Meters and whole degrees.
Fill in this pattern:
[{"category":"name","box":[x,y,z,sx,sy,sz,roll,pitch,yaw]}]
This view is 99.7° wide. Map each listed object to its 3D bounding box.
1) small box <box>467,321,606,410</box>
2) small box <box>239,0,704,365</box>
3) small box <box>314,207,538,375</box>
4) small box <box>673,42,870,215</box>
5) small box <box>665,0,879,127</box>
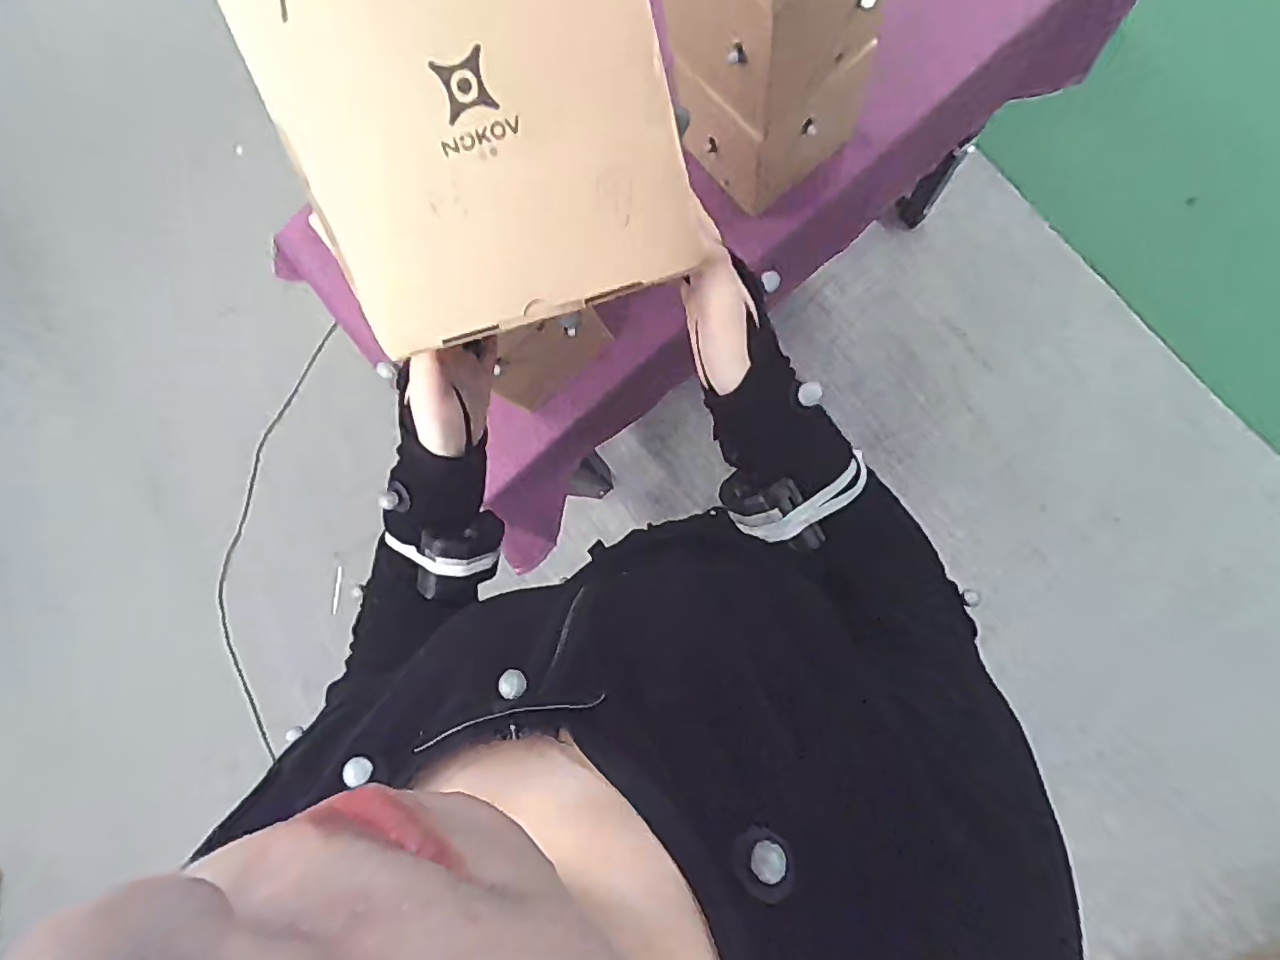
[{"category":"small box","box":[-0.171,-0.222,0.758,0.179,0.176,0.168,-40,81,4]},{"category":"small box","box":[-0.064,-0.185,0.307,0.168,0.176,0.179,-13,114,6]},{"category":"small box","box":[-0.197,-0.236,0.596,0.168,0.176,0.179,-40,80,3]},{"category":"small box","box":[0.167,-0.501,0.722,0.179,0.176,0.168,-39,82,5]},{"category":"small box","box":[0.139,-0.517,0.562,0.168,0.176,0.179,-41,80,4]}]
